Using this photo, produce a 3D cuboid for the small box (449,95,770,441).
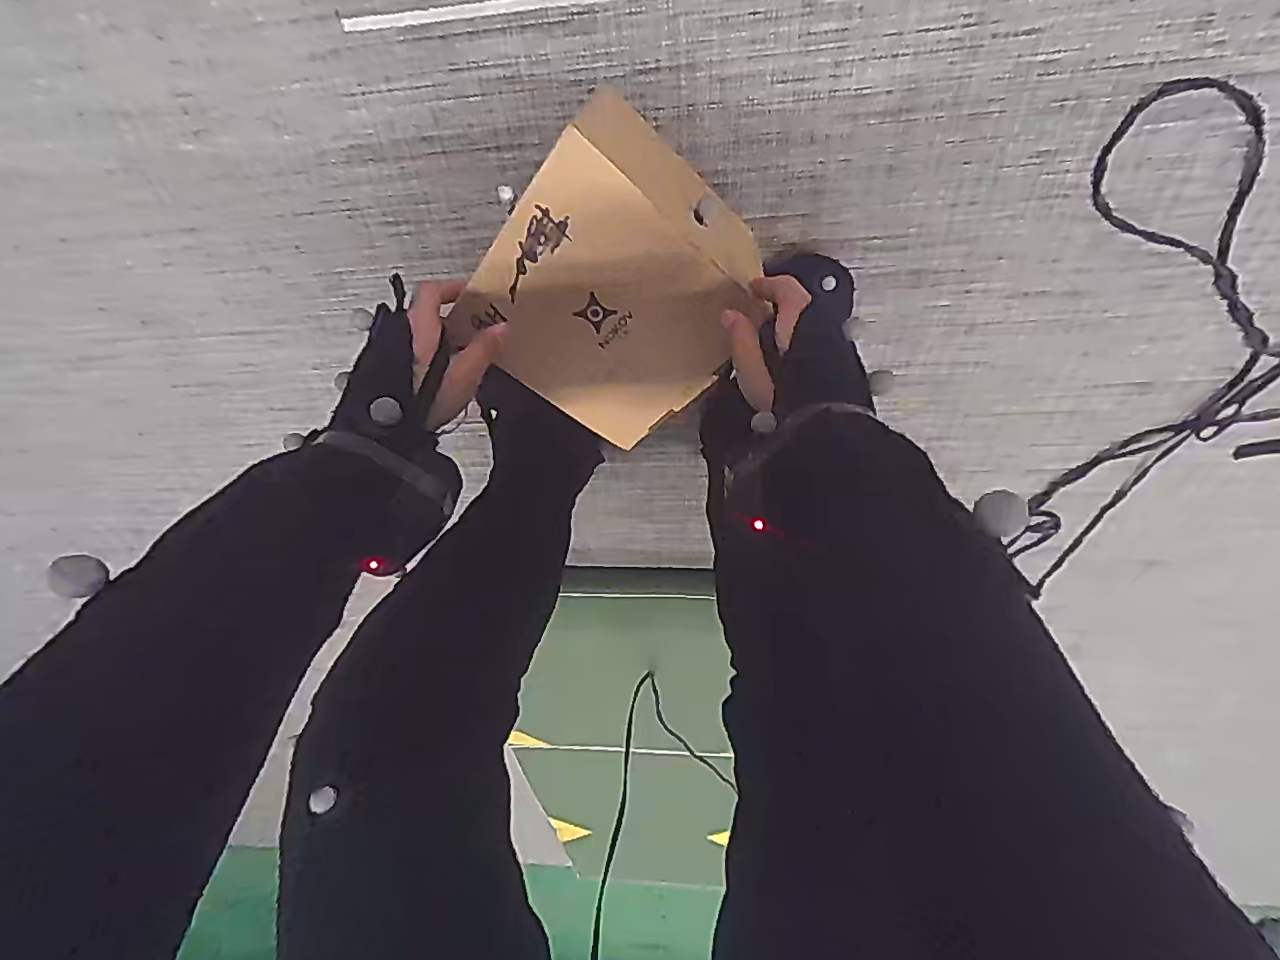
[{"bbox_3d":[-0.019,-0.172,0.443,0.179,0.176,0.168,33,127,-25],"label":"small box"}]
